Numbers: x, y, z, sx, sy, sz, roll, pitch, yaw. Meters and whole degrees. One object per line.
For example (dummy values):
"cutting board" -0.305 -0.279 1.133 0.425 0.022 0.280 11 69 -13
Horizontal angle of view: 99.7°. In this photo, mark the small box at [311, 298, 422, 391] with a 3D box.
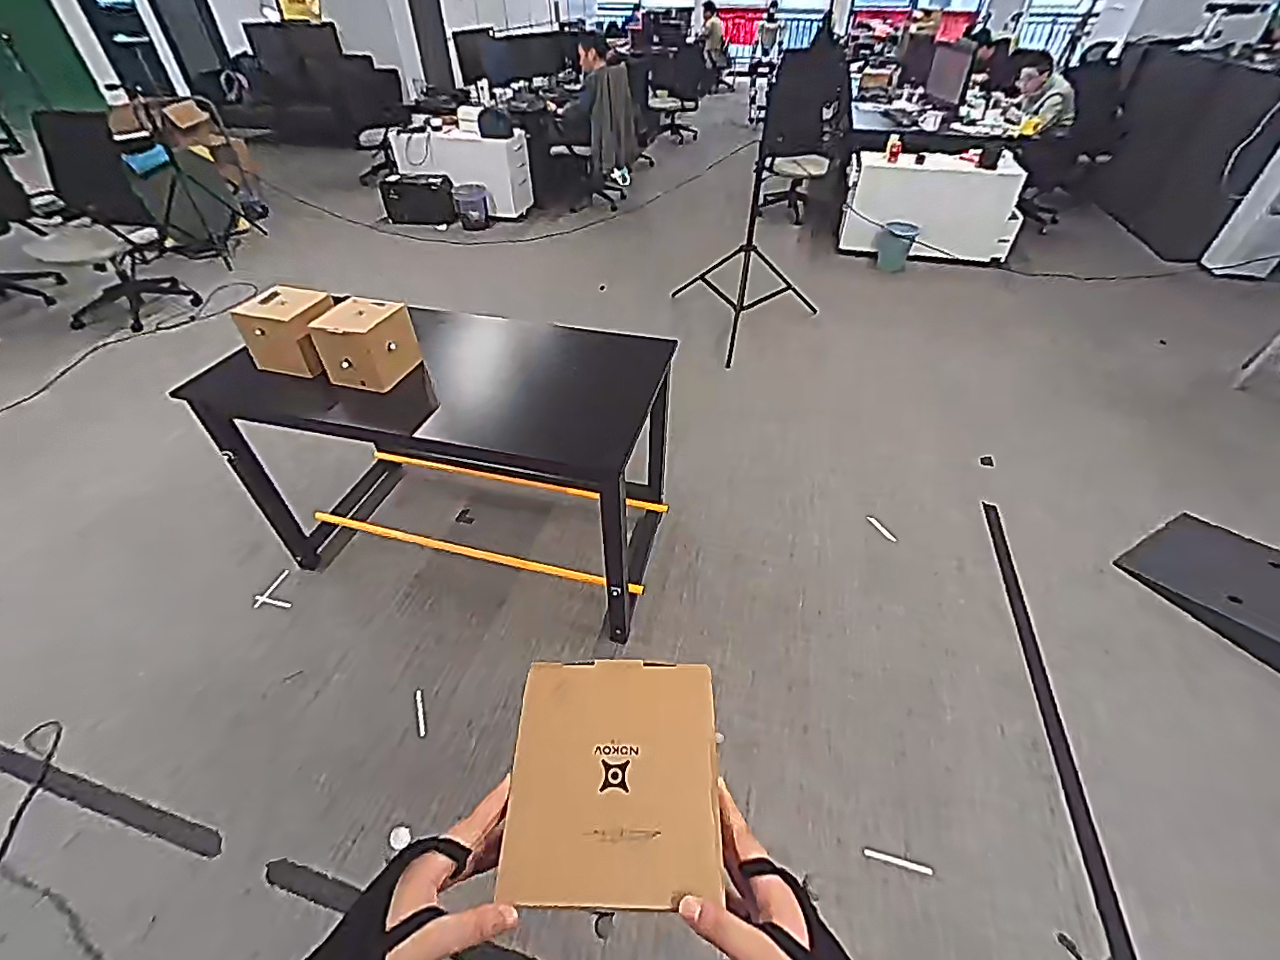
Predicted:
"small box" -0.700 -0.352 1.411 0.168 0.176 0.179 11 44 11

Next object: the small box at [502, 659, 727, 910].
"small box" -0.016 0.282 0.499 0.168 0.176 0.179 0 52 2

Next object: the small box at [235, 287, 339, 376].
"small box" -0.923 -0.399 1.458 0.179 0.176 0.168 11 44 10
